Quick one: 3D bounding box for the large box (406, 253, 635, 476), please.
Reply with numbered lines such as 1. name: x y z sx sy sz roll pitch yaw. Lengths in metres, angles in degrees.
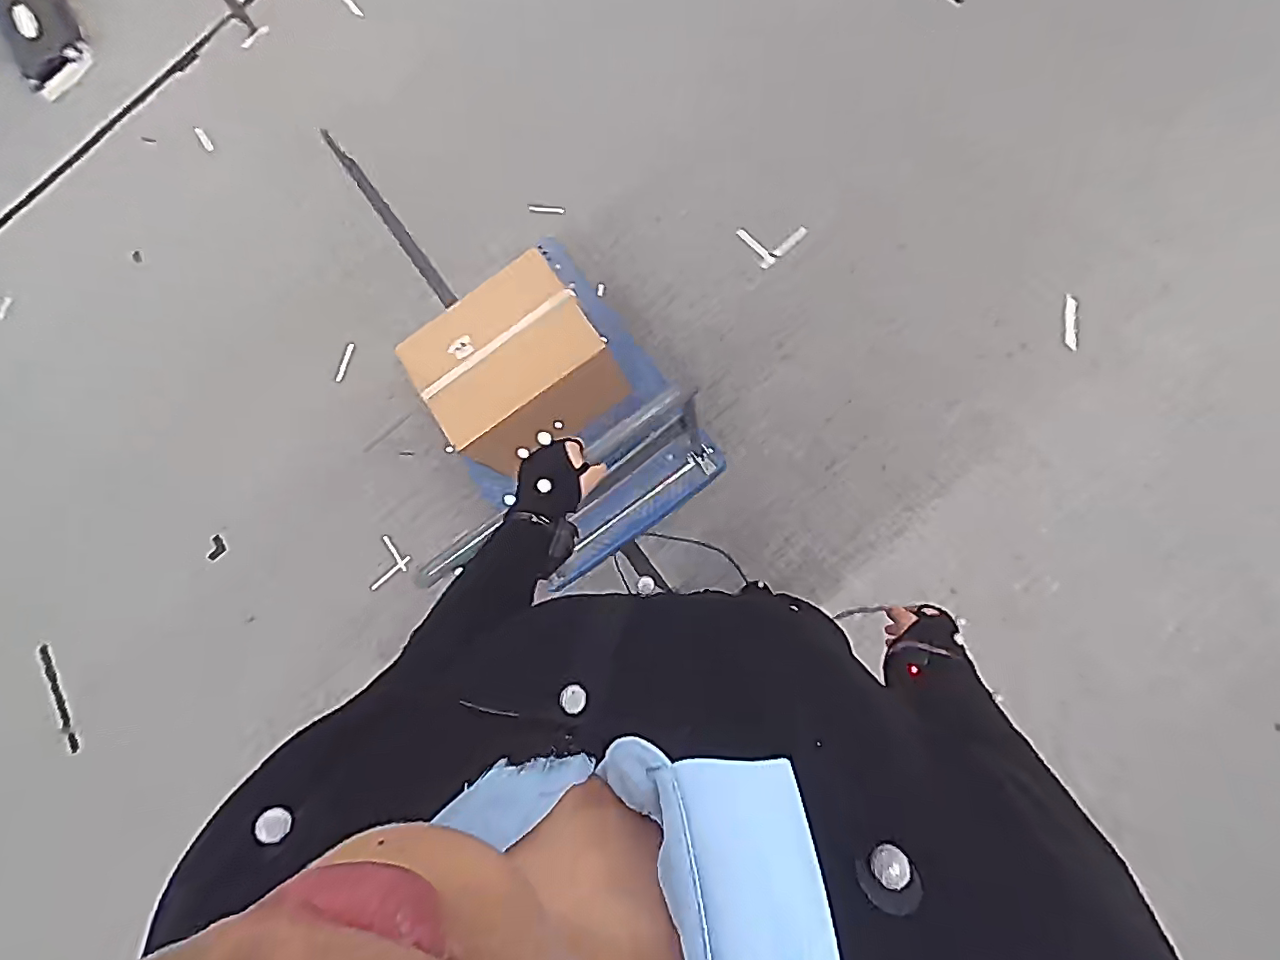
1. large box: -0.279 -0.266 1.360 0.408 0.320 0.320 -35 74 4
